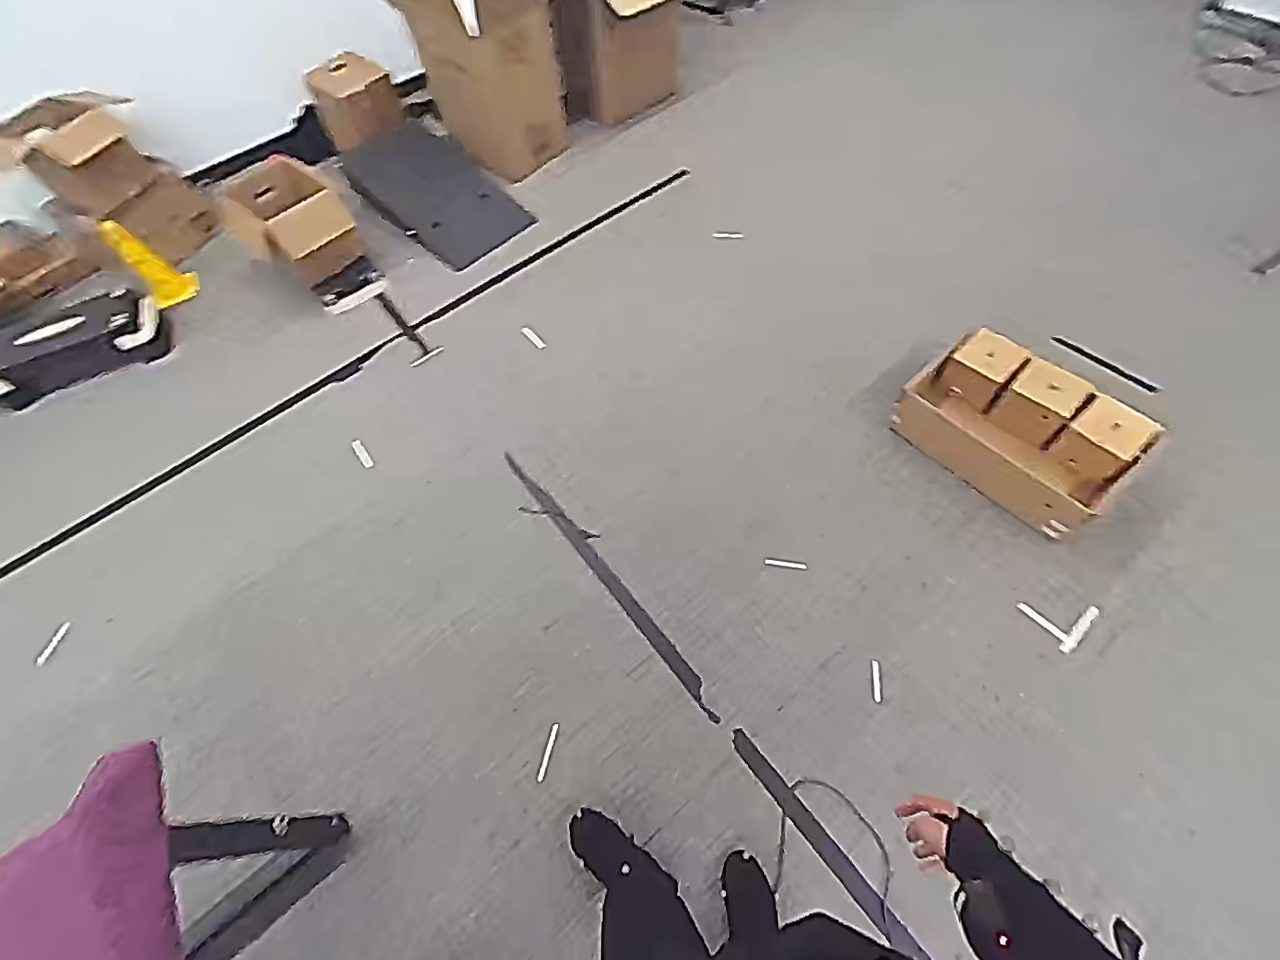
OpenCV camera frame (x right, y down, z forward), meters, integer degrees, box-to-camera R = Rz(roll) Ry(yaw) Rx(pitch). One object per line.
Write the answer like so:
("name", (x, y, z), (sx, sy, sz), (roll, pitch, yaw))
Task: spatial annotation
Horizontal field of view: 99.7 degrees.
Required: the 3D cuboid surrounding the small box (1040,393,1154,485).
("small box", (1.359, -0.120, 1.623), (0.179, 0.176, 0.168), (-39, 62, -13))
